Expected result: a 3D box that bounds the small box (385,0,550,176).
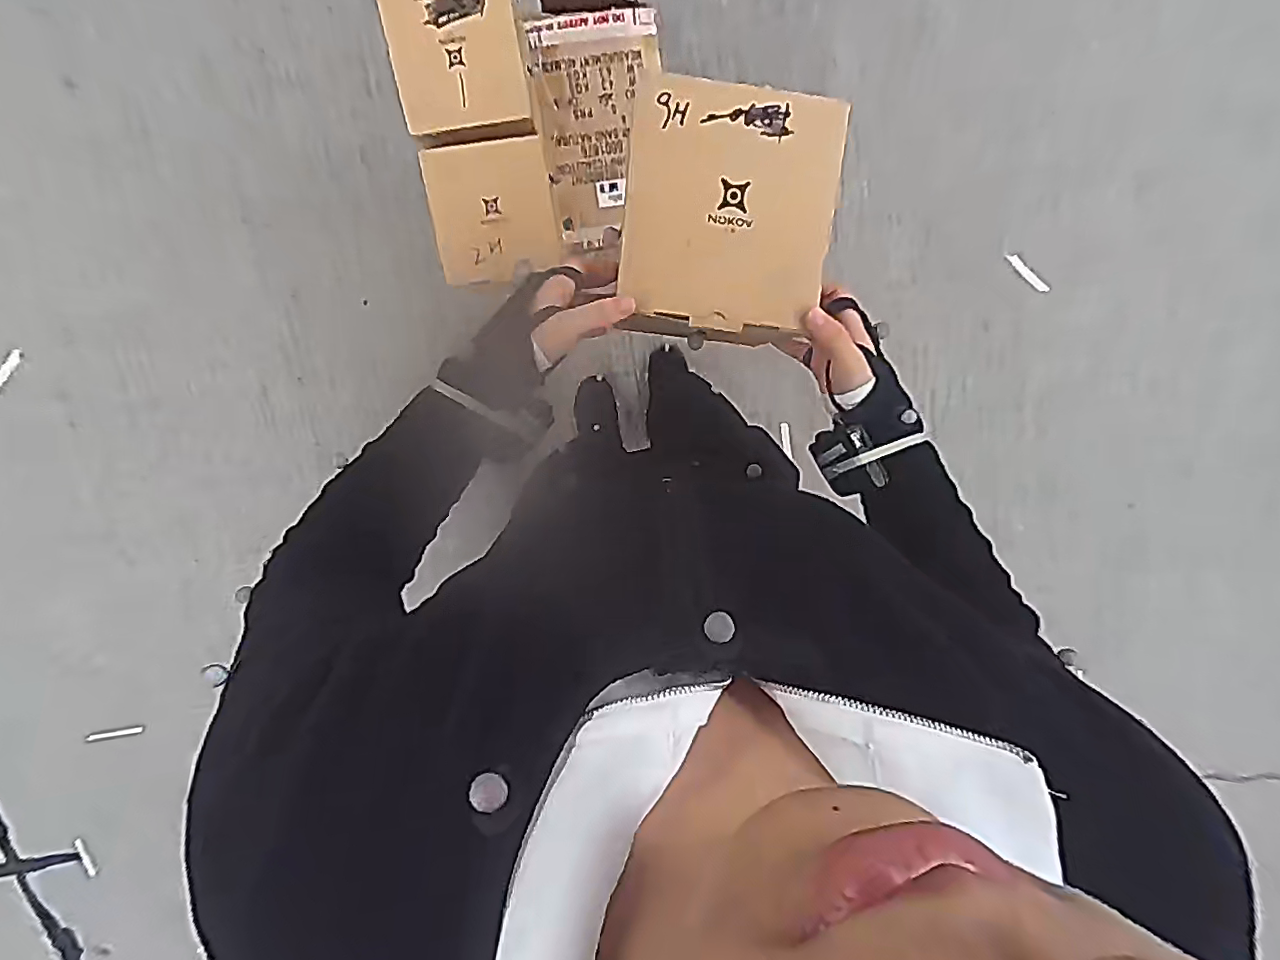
[{"bbox_3d":[-0.231,-0.560,0.768,0.168,0.176,0.179,-9,106,0],"label":"small box"}]
